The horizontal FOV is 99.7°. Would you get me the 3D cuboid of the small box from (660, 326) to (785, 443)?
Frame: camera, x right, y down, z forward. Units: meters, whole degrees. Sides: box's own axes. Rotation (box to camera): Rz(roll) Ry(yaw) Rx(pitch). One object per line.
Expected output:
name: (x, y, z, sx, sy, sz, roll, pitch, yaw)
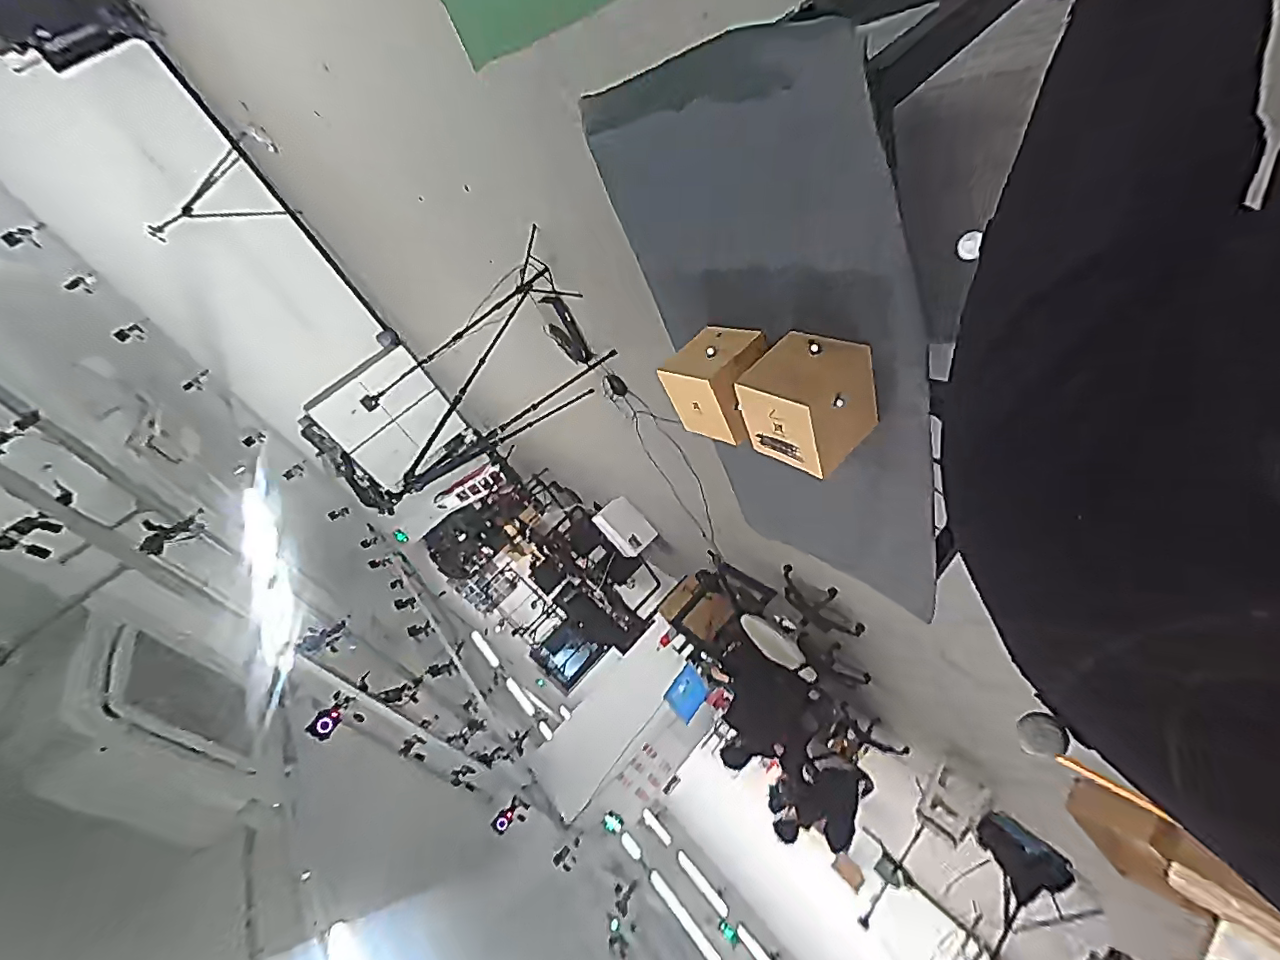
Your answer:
small box: (0.181, -0.211, 1.162, 0.168, 0.176, 0.179, 25, 155, 49)
